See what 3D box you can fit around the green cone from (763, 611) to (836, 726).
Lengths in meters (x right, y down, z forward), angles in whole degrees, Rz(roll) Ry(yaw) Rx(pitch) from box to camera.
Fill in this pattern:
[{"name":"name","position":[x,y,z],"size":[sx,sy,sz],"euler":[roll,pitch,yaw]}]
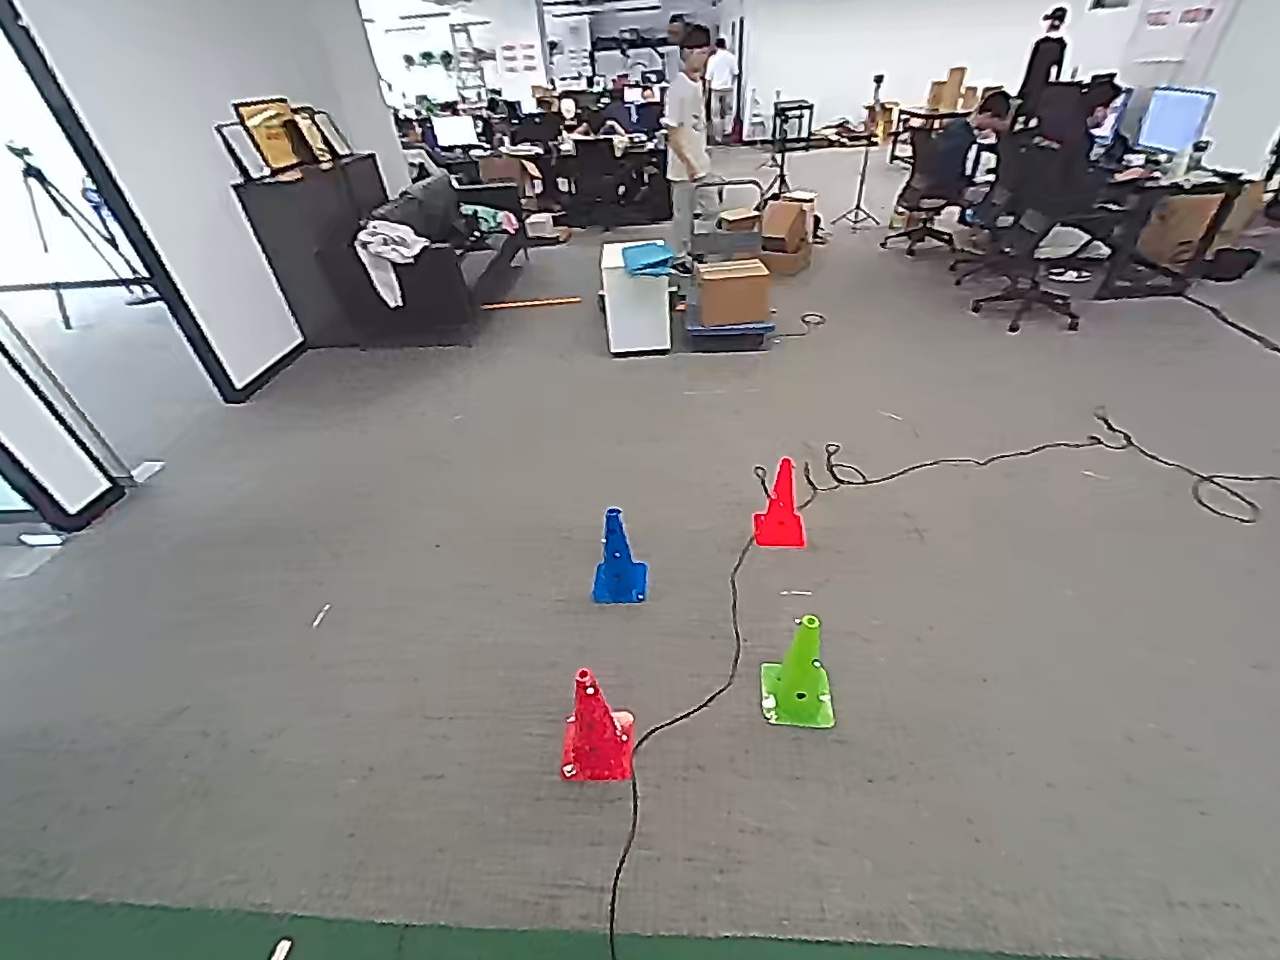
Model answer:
[{"name":"green cone","position":[0.472,0.511,1.540],"size":[0.200,0.368,0.202],"euler":[1,37,7]}]

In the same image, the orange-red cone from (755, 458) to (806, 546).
[{"name":"orange-red cone","position":[0.561,0.069,2.116],"size":[0.198,0.360,0.199],"euler":[1,39,10]}]
